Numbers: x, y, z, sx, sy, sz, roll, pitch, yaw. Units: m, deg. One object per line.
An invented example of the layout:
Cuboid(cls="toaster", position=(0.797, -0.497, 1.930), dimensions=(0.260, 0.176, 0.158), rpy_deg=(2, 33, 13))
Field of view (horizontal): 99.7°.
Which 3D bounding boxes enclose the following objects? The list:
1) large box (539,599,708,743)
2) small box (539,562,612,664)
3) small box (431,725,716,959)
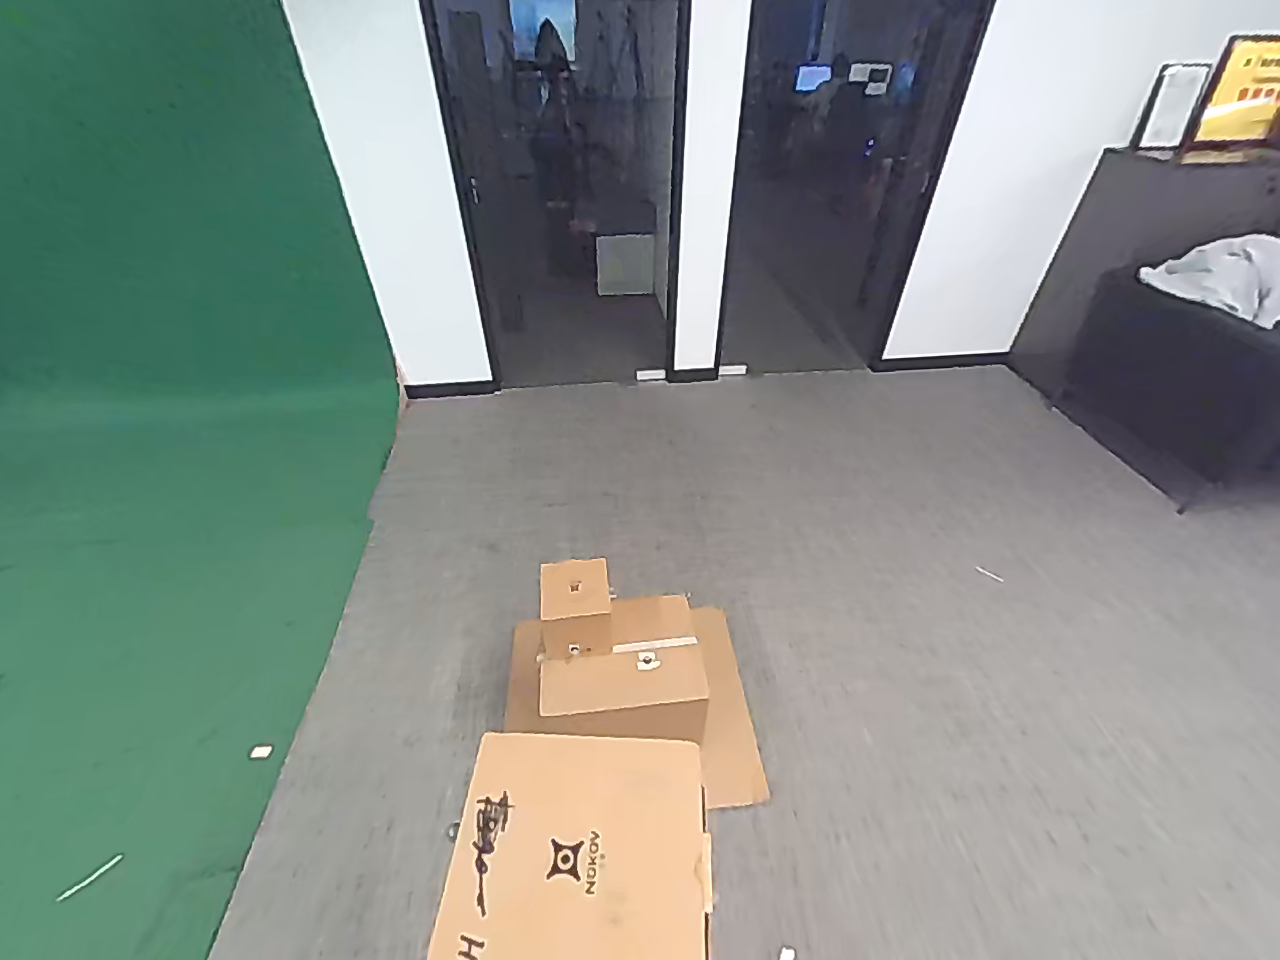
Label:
Cuboid(cls="large box", position=(-0.060, 0.557, 1.459), dimensions=(0.408, 0.320, 0.320), rpy_deg=(-3, 40, -7))
Cuboid(cls="small box", position=(-0.161, 0.331, 1.349), dimensions=(0.168, 0.176, 0.179), rpy_deg=(-5, 39, -7))
Cuboid(cls="small box", position=(-0.040, 0.315, 0.423), dimensions=(0.179, 0.176, 0.168), rpy_deg=(3, 42, 2))
